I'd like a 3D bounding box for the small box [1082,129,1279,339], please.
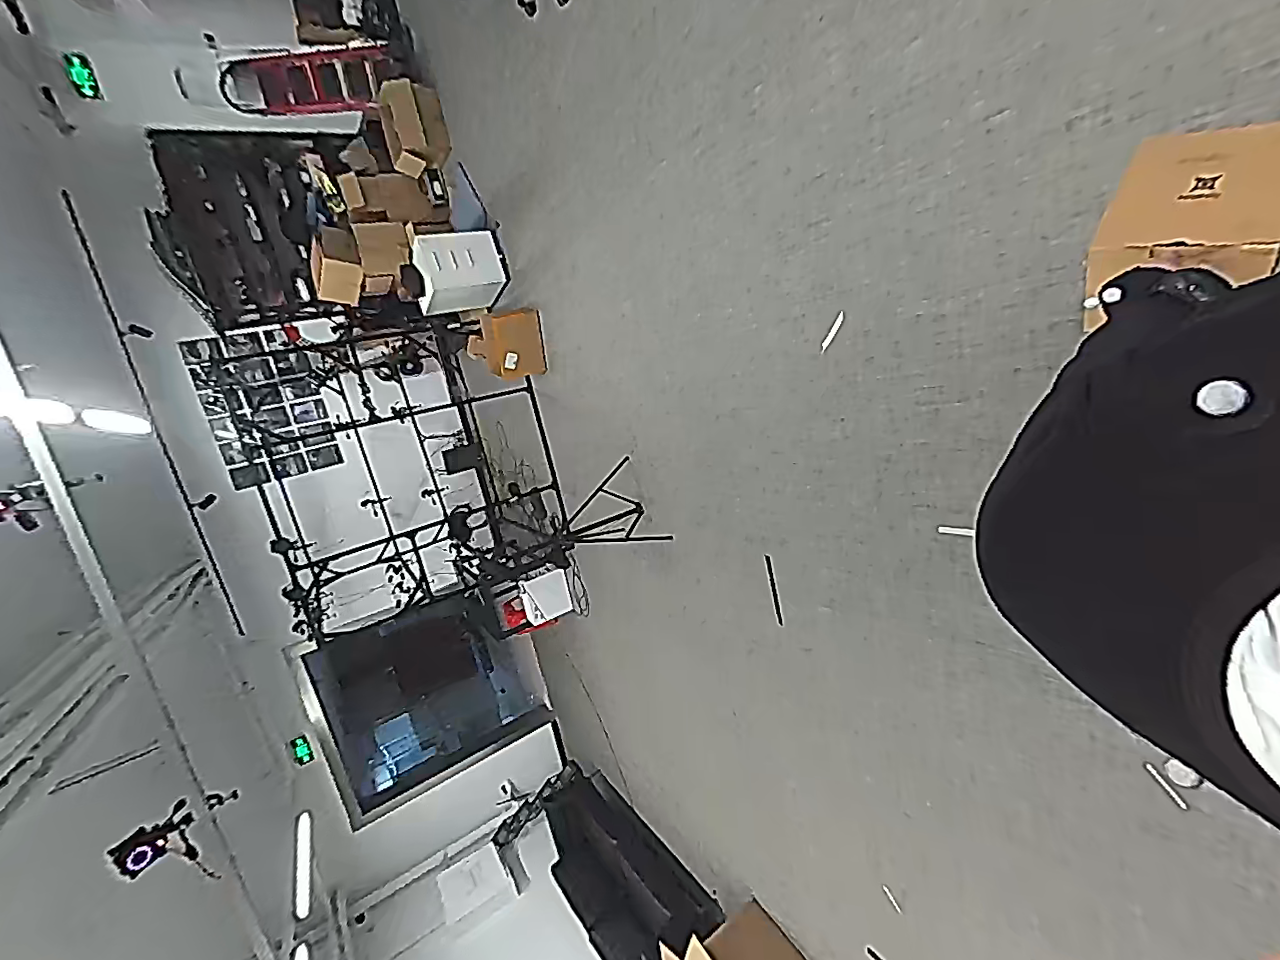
[{"bbox_3d":[0.698,-0.304,0.692,0.168,0.179,0.176,23,169,42],"label":"small box"}]
